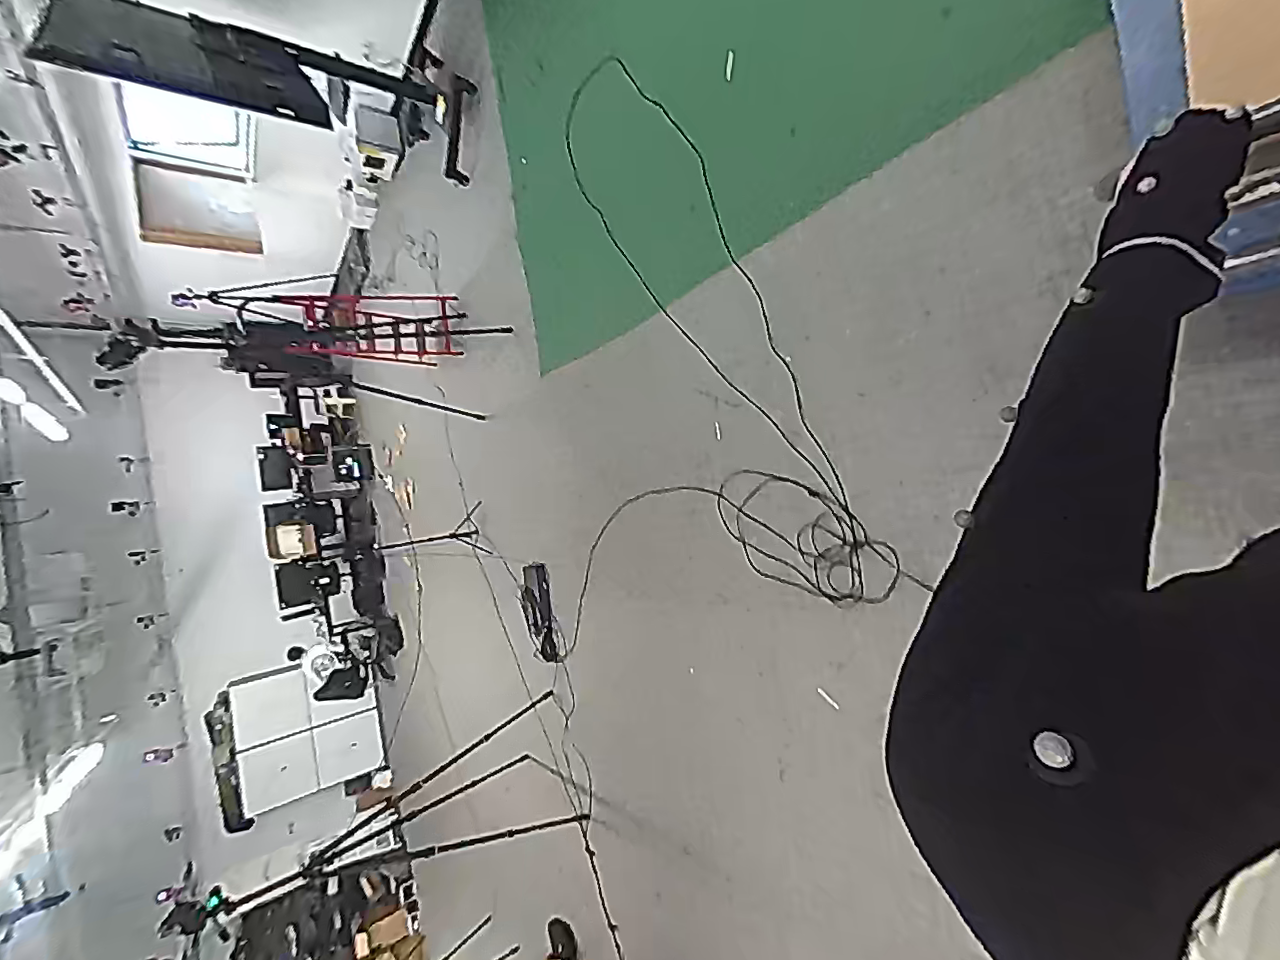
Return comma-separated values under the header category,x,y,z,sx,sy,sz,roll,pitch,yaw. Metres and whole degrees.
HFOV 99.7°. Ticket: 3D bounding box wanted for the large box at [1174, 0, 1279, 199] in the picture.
category,x,y,z,sx,sy,sz,roll,pitch,yaw
large box,0.990,-0.686,0.751,0.320,0.320,0.408,-5,91,52
